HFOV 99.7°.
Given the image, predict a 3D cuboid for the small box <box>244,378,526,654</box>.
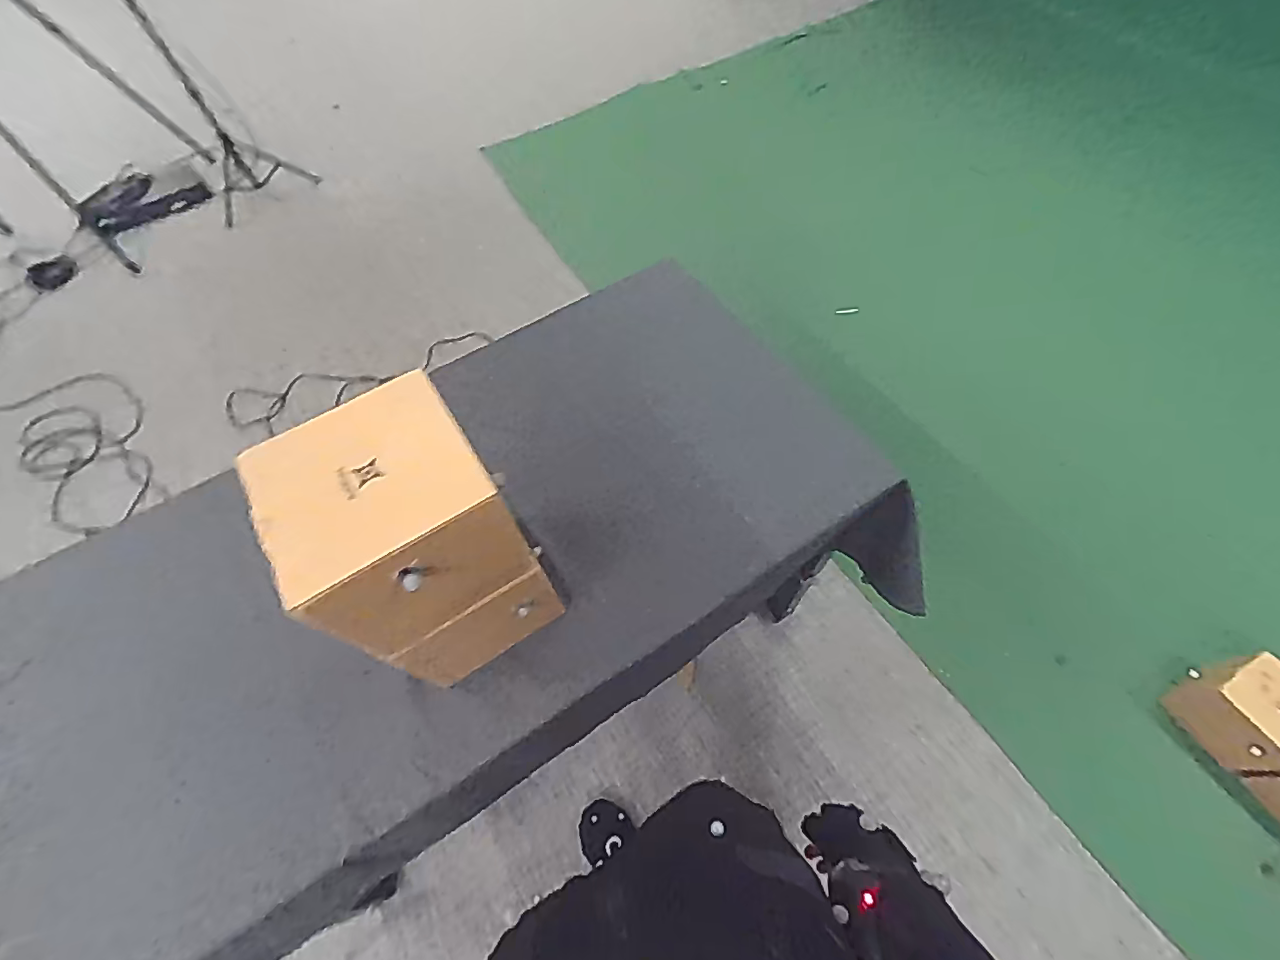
[{"bbox_3d":[-0.227,0.041,0.528,0.179,0.176,0.168,-32,63,-14],"label":"small box"}]
